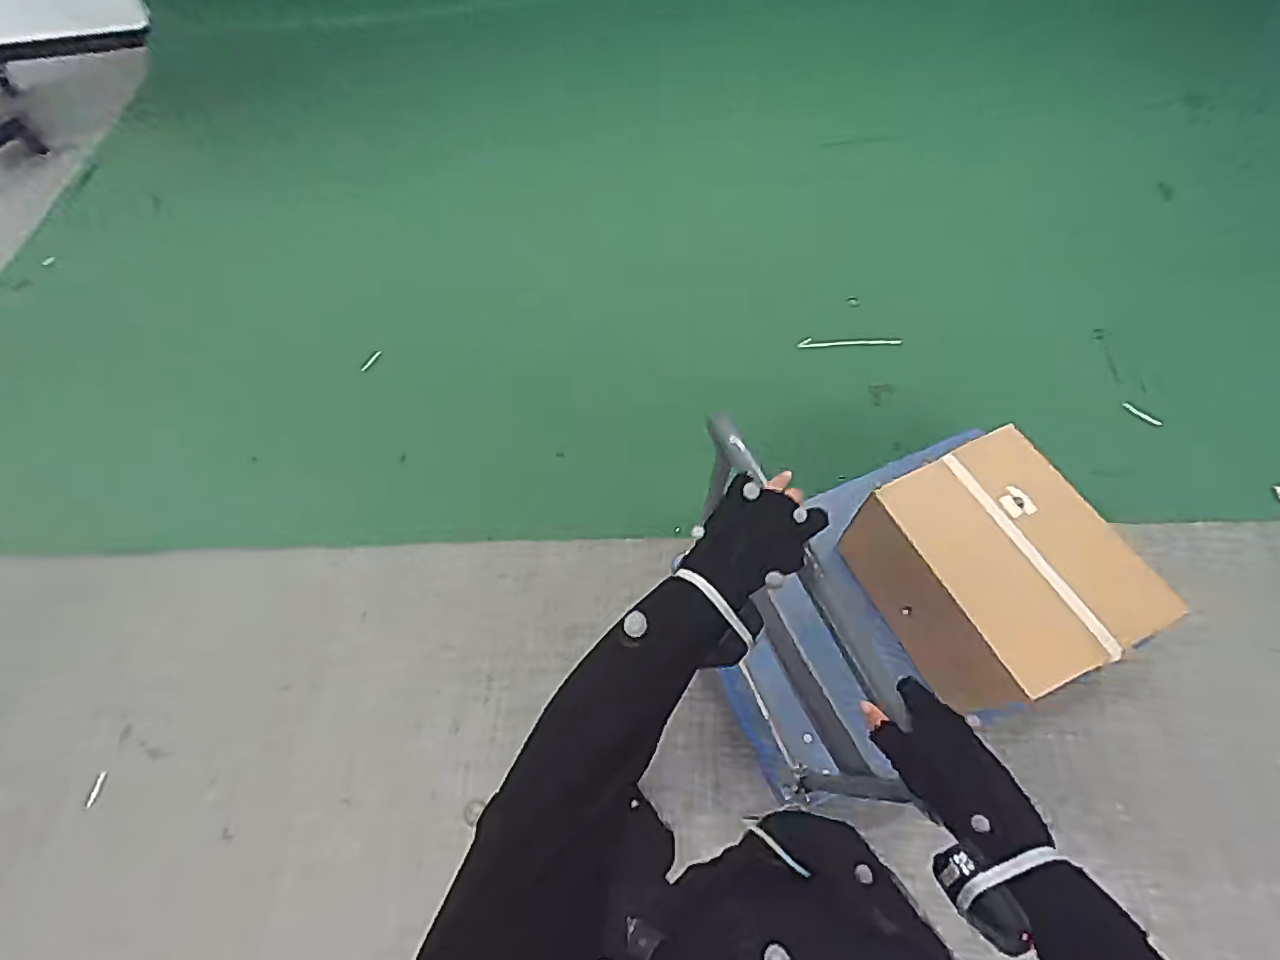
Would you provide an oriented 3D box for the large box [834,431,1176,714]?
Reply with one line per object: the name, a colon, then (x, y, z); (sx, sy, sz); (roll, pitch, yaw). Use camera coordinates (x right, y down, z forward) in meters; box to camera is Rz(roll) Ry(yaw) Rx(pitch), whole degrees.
large box: (0.652, 0.189, 1.062); (0.320, 0.320, 0.408); (-24, 62, -7)
